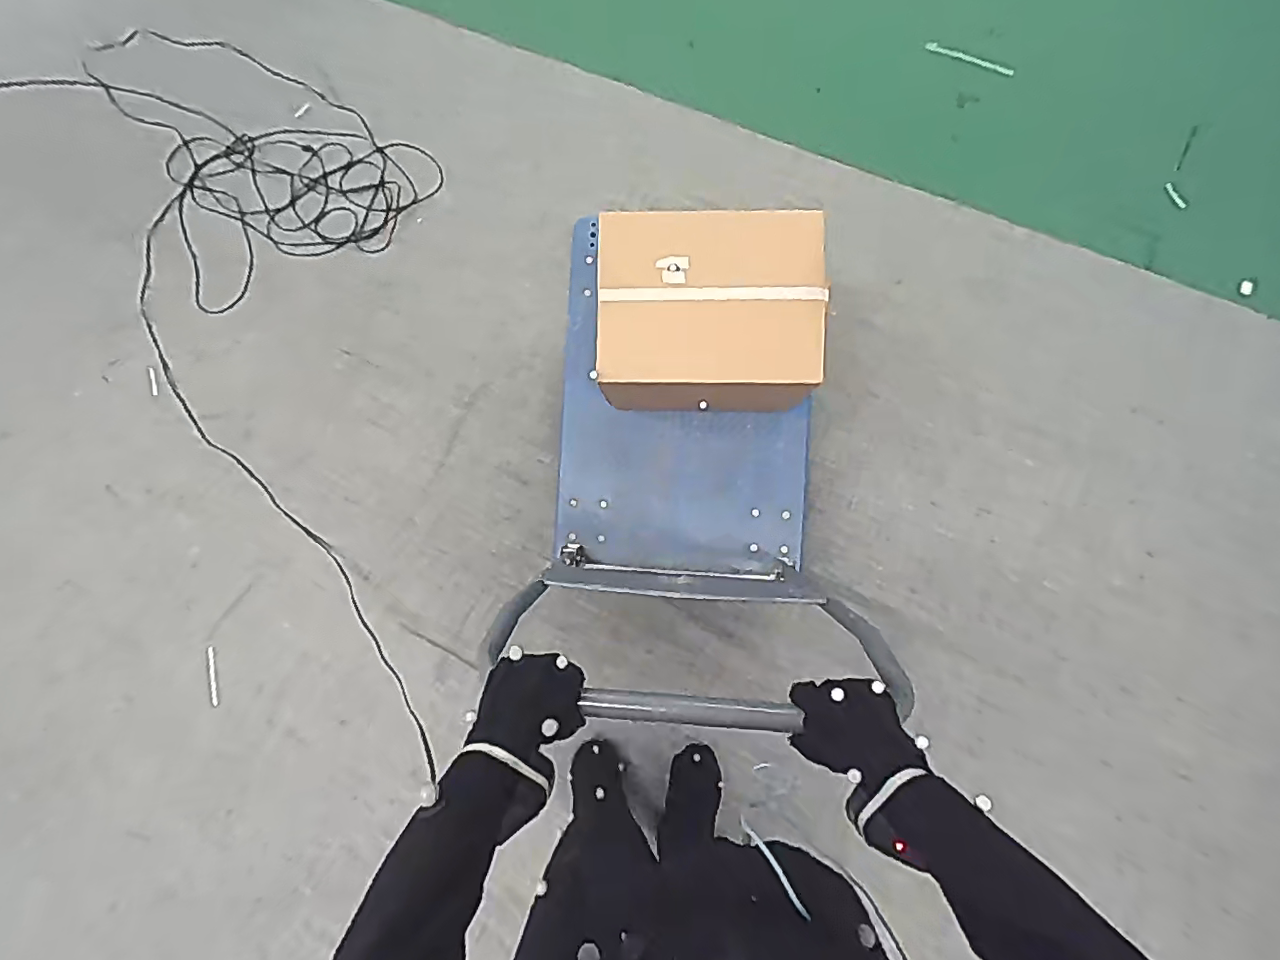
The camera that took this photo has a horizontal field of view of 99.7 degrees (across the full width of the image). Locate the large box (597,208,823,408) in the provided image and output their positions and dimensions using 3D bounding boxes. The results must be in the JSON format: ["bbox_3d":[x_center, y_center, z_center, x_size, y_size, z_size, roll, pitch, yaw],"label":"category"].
[{"bbox_3d":[0.134,-0.323,1.111,0.408,0.320,0.320,0,88,4],"label":"large box"}]
